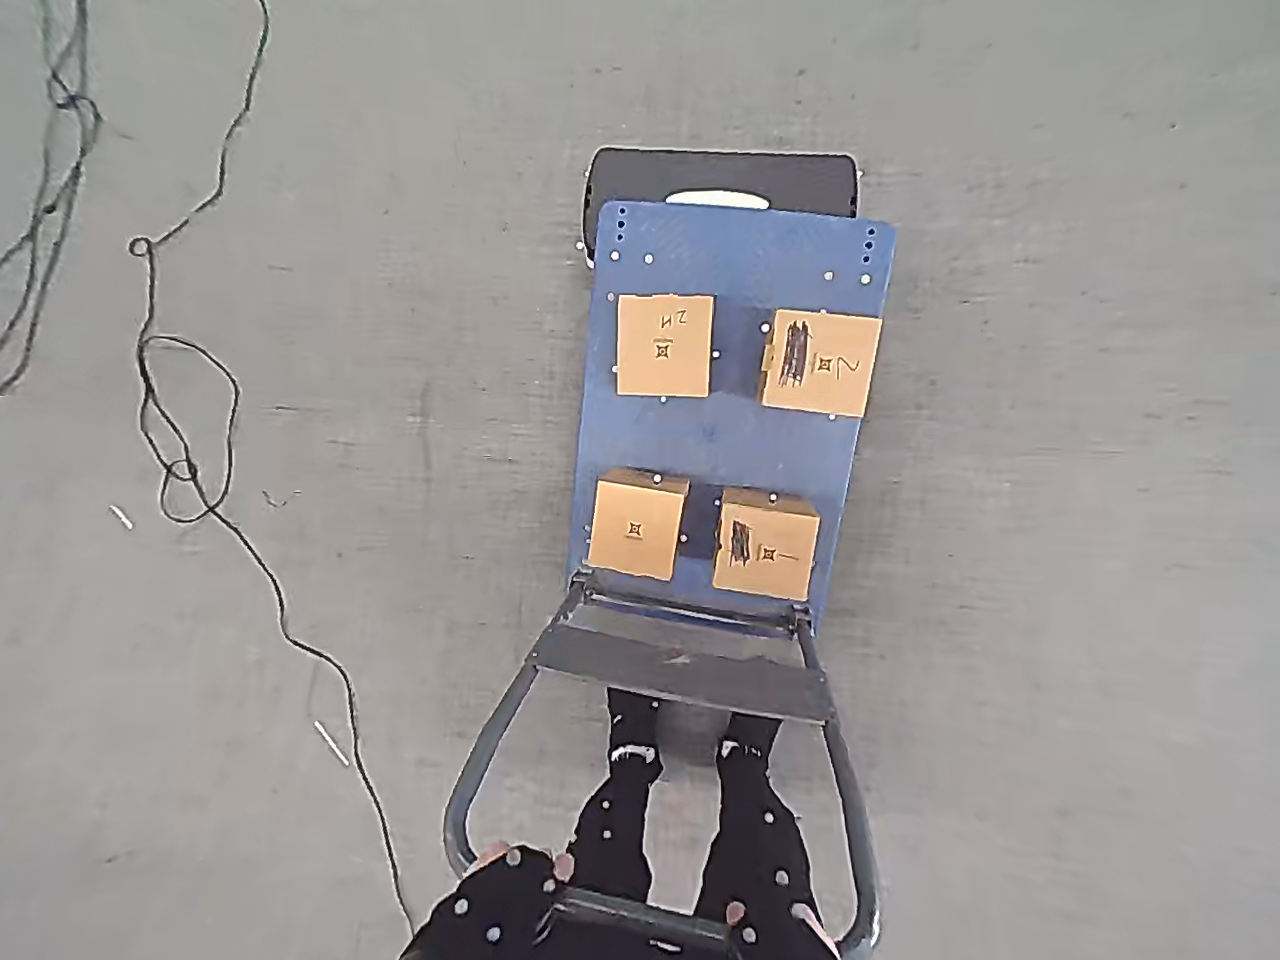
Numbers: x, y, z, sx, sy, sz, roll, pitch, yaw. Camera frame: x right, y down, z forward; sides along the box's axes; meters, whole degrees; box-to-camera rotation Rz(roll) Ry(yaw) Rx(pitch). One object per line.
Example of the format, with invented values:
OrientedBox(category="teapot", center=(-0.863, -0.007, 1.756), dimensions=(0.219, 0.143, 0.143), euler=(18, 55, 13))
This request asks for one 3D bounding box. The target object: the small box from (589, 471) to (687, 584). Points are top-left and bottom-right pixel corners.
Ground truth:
OrientedBox(category="small box", center=(0.002, 0.086, 1.099), dimensions=(0.168, 0.176, 0.179), euler=(10, 103, 6))

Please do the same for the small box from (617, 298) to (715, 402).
OrientedBox(category="small box", center=(0.054, -0.244, 1.028), dimensions=(0.168, 0.176, 0.179), euler=(3, 101, 7))
